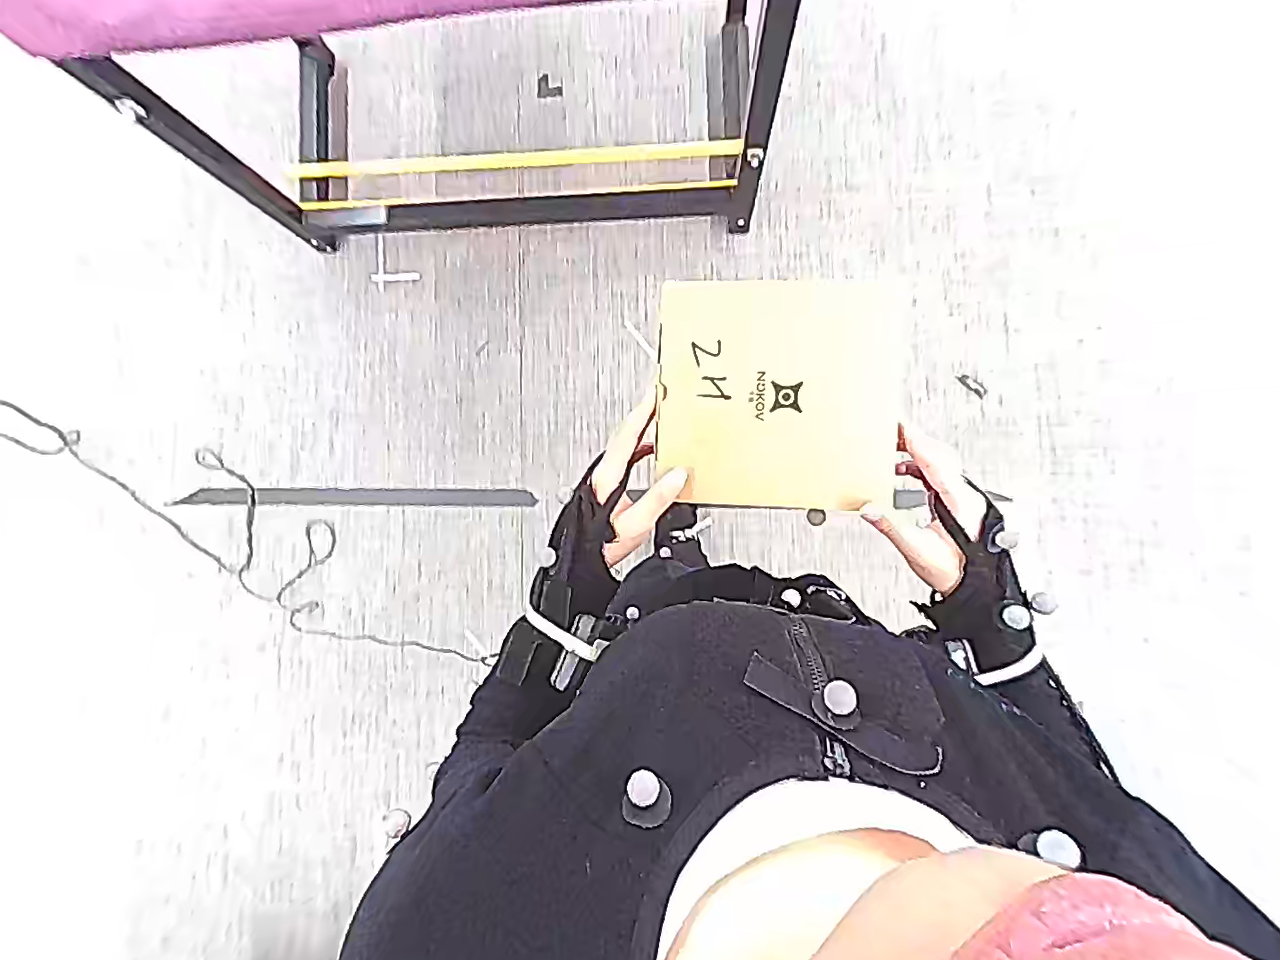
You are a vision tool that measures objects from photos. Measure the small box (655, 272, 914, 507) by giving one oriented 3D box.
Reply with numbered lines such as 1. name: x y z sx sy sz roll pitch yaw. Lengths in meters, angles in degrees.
1. small box: 0.111 -0.072 0.469 0.179 0.176 0.168 3 94 9
